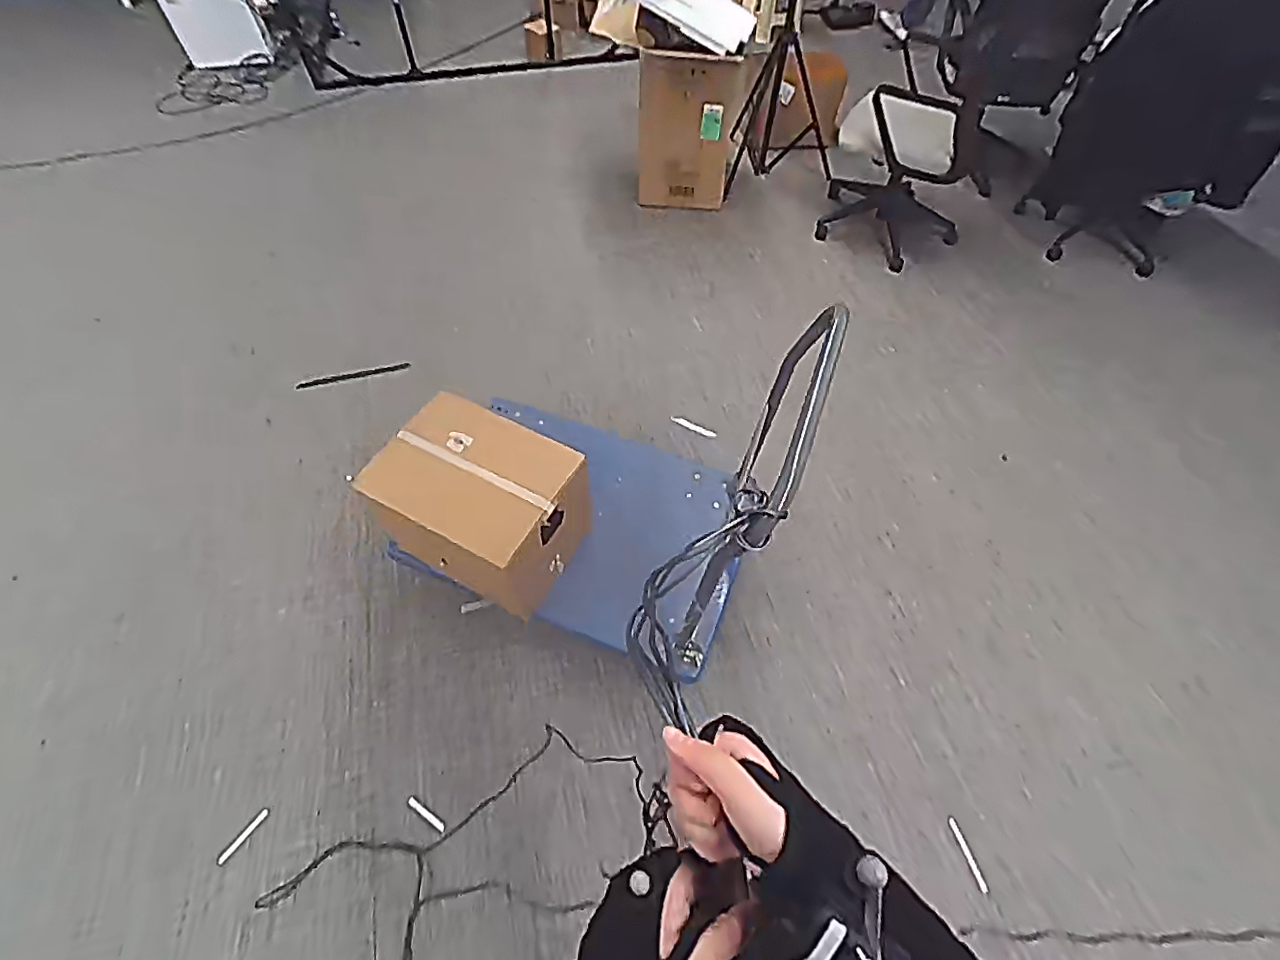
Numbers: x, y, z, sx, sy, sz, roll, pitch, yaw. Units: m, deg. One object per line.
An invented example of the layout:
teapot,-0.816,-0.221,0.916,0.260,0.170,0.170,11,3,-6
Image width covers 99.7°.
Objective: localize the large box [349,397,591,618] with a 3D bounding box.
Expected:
large box,-0.369,0.069,1.287,0.408,0.320,0.320,24,58,15
